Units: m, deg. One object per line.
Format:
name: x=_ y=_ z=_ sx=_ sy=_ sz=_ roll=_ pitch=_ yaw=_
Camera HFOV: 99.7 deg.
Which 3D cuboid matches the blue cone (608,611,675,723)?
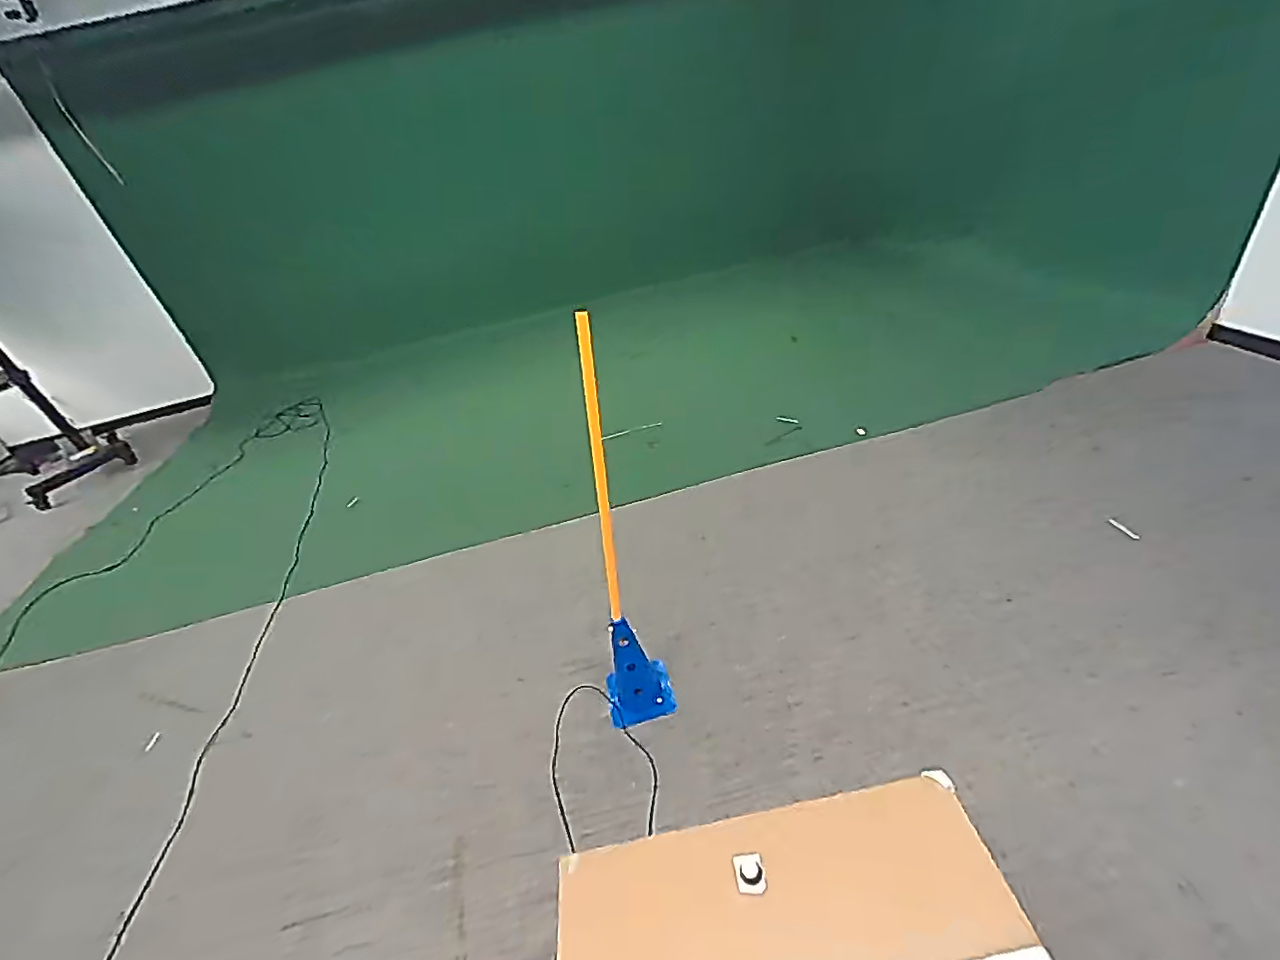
blue cone: x=-0.026 y=0.517 z=1.593 sx=0.193 sy=0.380 sz=0.192 roll=-16 pitch=35 yaw=-6
